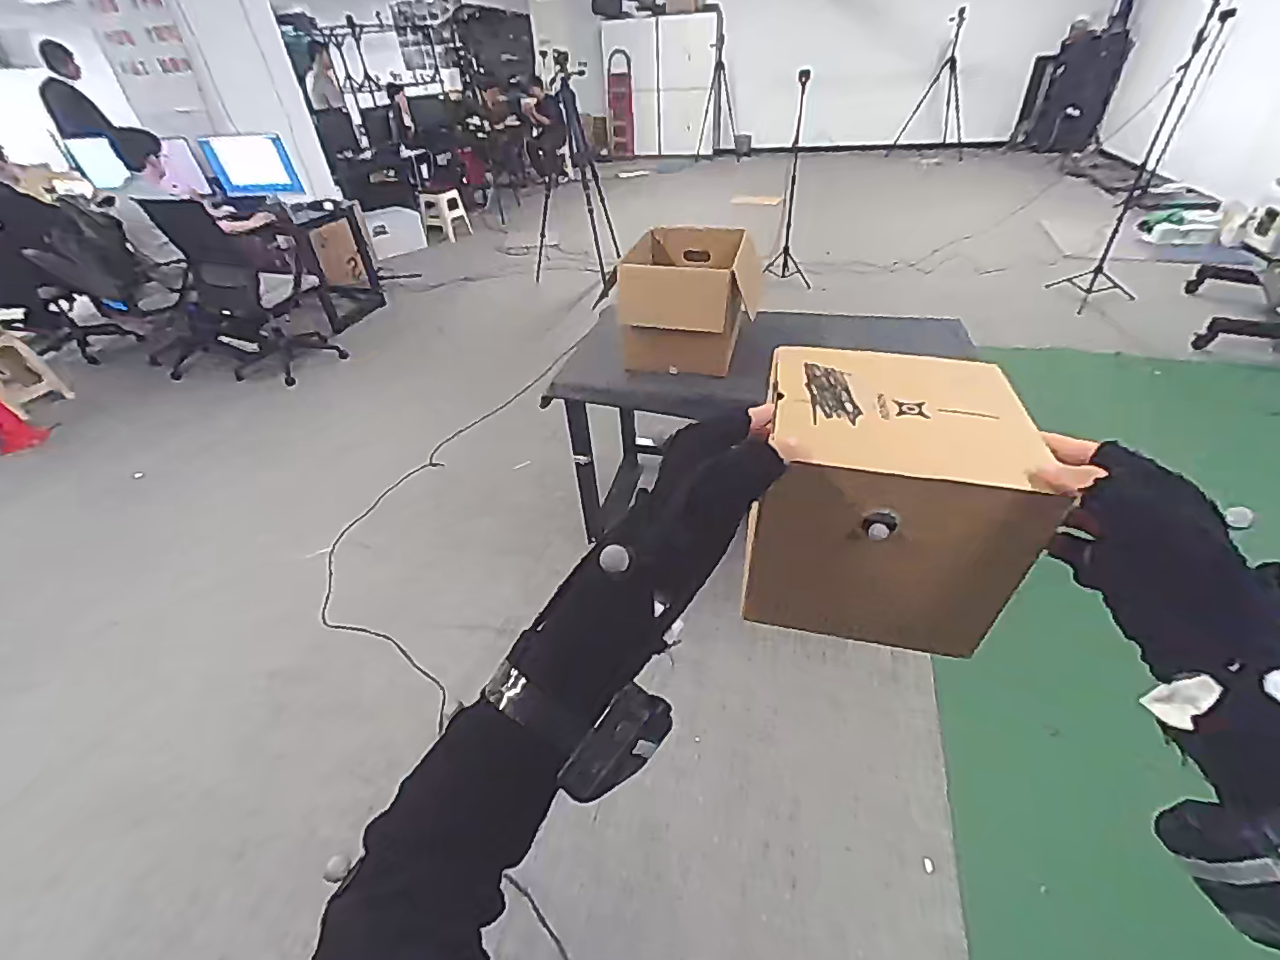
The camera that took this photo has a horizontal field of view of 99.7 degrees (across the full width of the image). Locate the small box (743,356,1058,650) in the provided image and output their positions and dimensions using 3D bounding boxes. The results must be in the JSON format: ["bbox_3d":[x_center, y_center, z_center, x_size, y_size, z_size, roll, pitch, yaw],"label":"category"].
[{"bbox_3d":[0.183,0.016,0.444,0.179,0.176,0.168,8,39,10],"label":"small box"}]
